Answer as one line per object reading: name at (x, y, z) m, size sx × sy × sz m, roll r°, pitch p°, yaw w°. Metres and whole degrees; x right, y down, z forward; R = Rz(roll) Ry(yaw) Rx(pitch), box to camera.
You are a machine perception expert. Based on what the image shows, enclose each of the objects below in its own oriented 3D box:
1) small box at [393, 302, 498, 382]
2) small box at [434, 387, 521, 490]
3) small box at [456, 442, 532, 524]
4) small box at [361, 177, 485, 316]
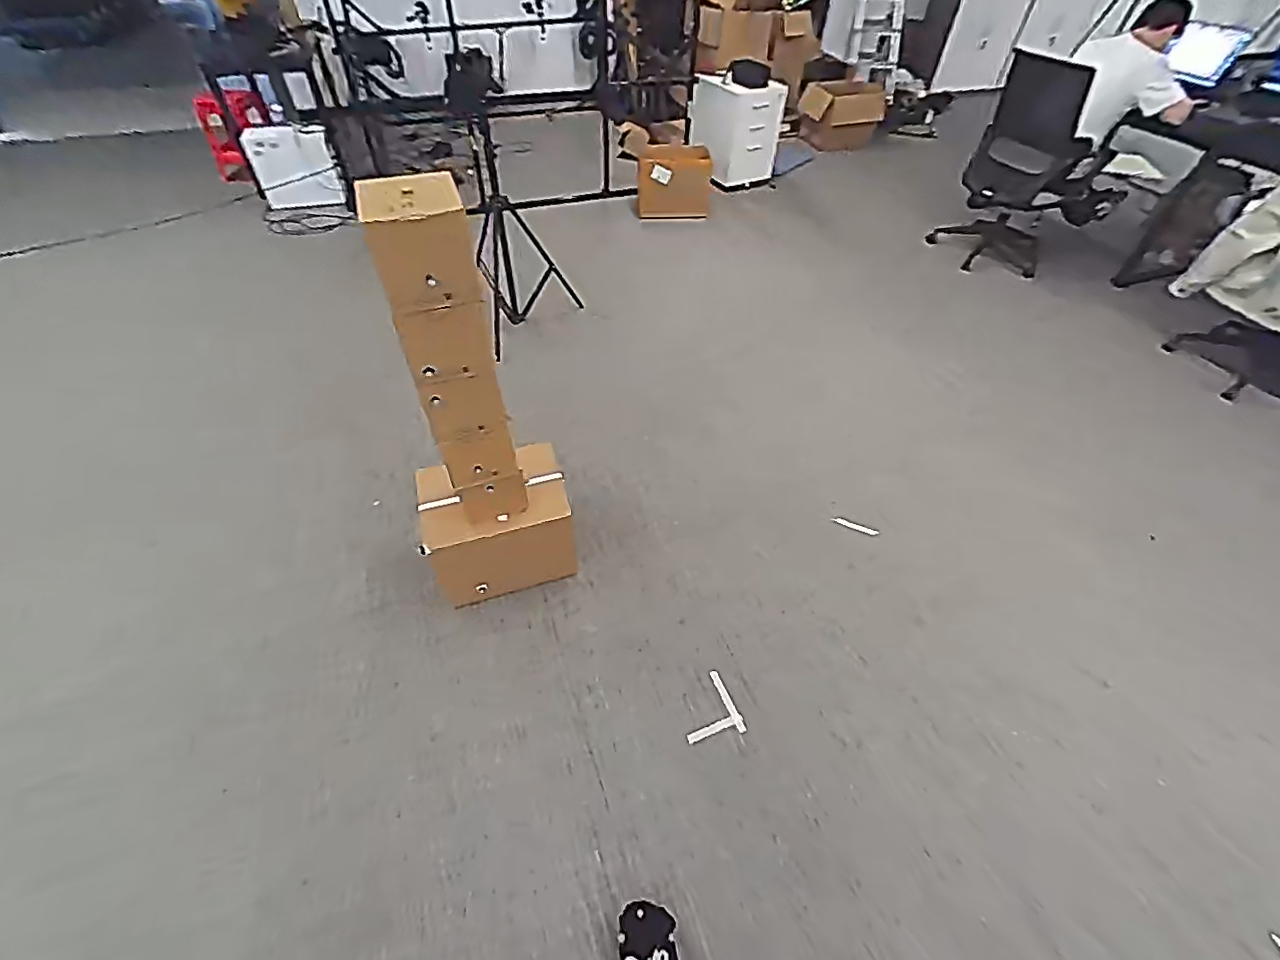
small box at (-0.397, -0.318, 1.111) m, size 0.168 × 0.176 × 0.179 m, roll -13°, pitch 50°, yaw -13°
small box at (-0.406, -0.104, 1.360) m, size 0.168 × 0.176 × 0.179 m, roll -15°, pitch 52°, yaw -14°
small box at (-0.409, -0.003, 1.487) m, size 0.179 × 0.176 × 0.168 m, roll -15°, pitch 51°, yaw -16°
small box at (-0.392, -0.425, 0.986) m, size 0.168 × 0.176 × 0.179 m, roll -16°, pitch 52°, yaw -14°
